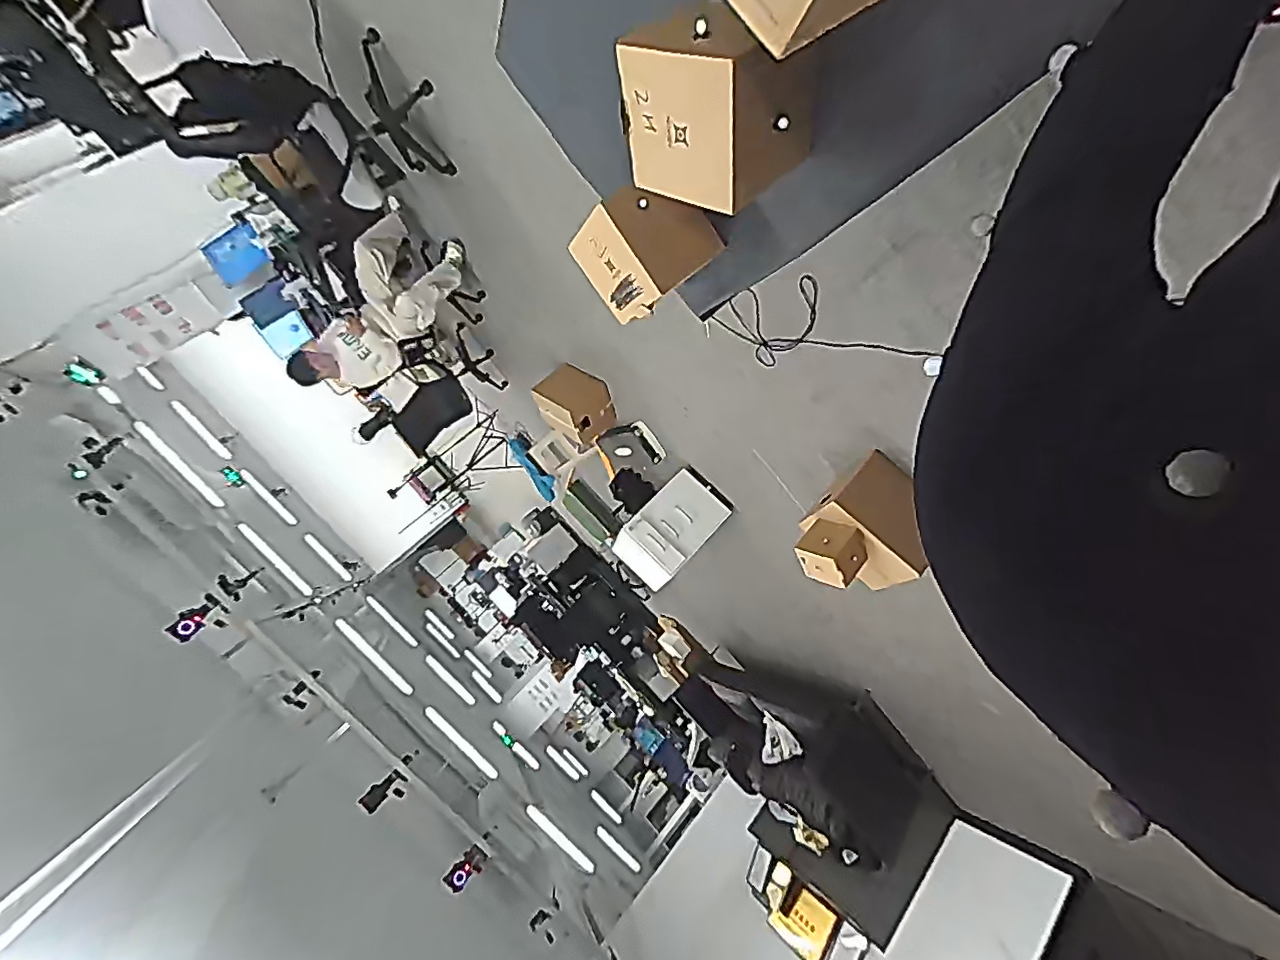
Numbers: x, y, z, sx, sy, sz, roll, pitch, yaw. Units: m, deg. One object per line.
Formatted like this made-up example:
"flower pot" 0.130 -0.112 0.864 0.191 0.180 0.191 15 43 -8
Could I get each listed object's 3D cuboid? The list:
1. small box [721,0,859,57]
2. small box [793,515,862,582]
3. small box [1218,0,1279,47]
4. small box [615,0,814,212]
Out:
"small box" 0.116 -0.412 0.312 0.179 0.176 0.168 48 160 -5
"small box" 0.720 0.254 2.053 0.179 0.176 0.168 13 142 51
"small box" 0.951 -0.679 0.702 0.176 0.168 0.179 11 124 9
"small box" 0.097 -0.479 0.688 0.179 0.176 0.168 34 156 29
